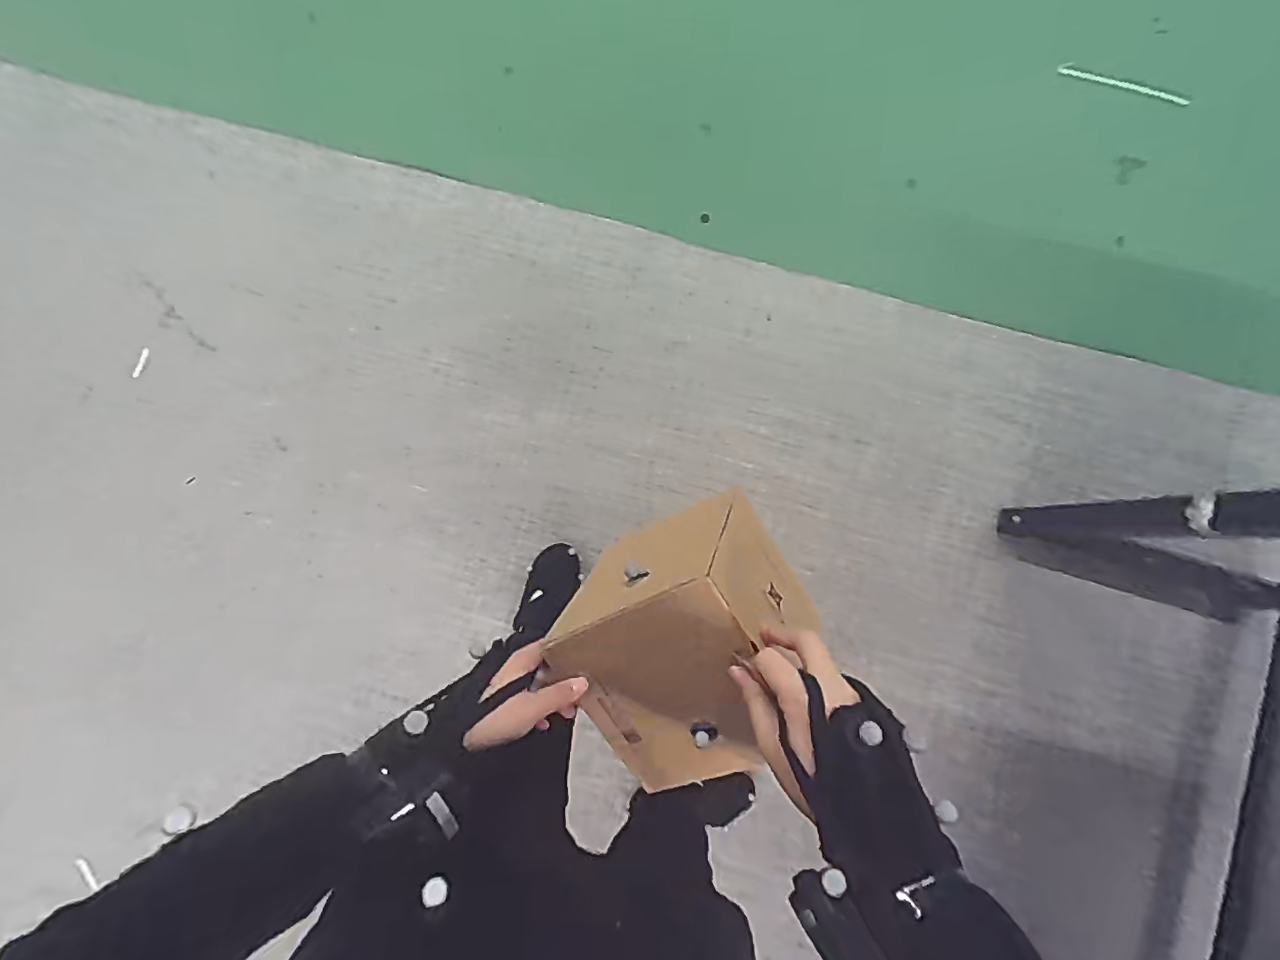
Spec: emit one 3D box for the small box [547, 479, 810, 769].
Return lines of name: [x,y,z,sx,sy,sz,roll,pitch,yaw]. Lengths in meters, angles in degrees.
small box: [0.040,0.130,0.502,0.176,0.179,0.168,-29,100,24]
